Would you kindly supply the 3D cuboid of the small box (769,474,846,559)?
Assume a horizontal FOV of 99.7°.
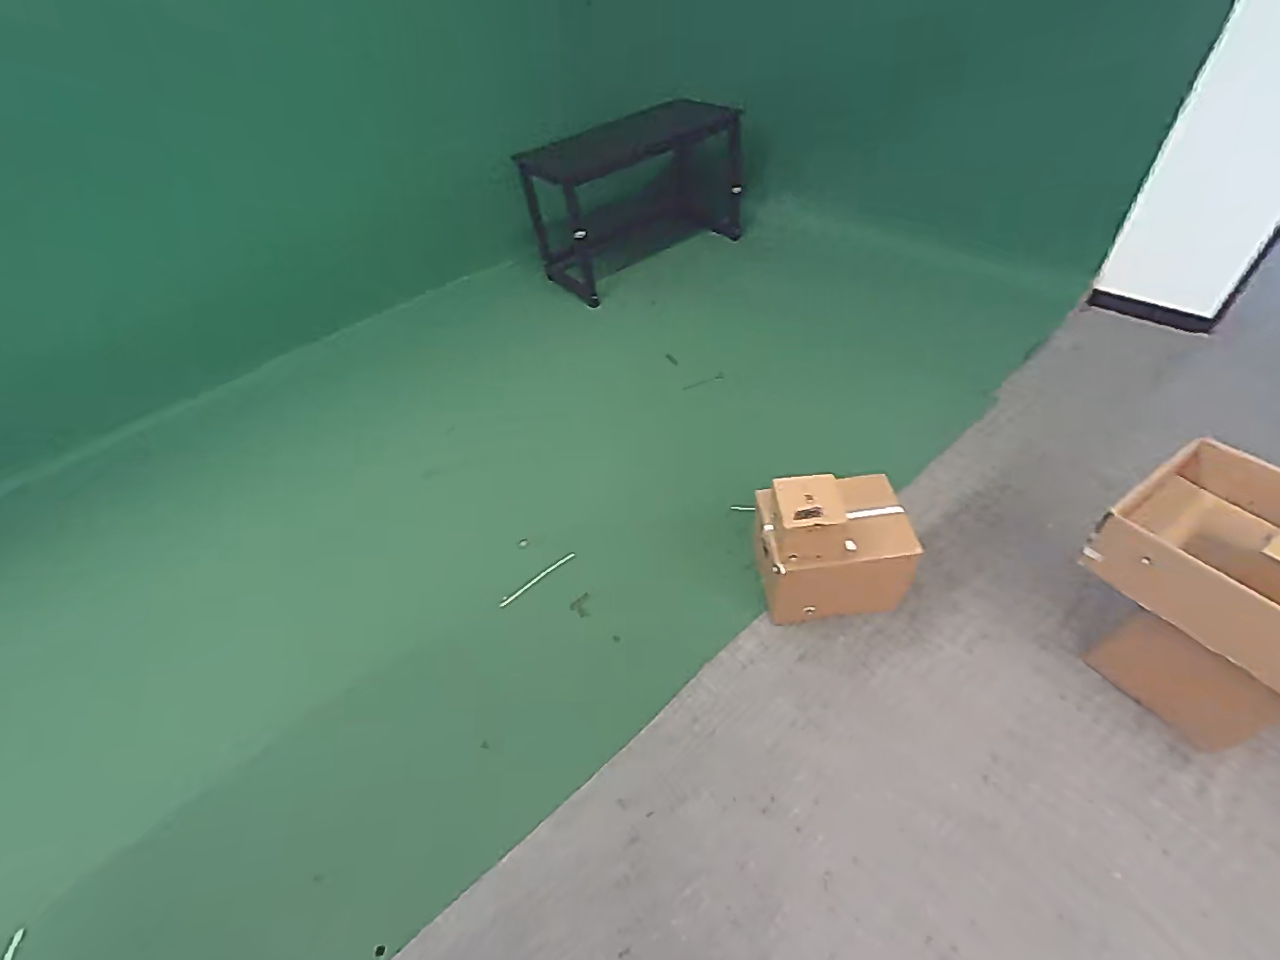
[{"bbox_3d":[0.458,0.107,1.502,0.168,0.176,0.179,-5,47,4],"label":"small box"}]
